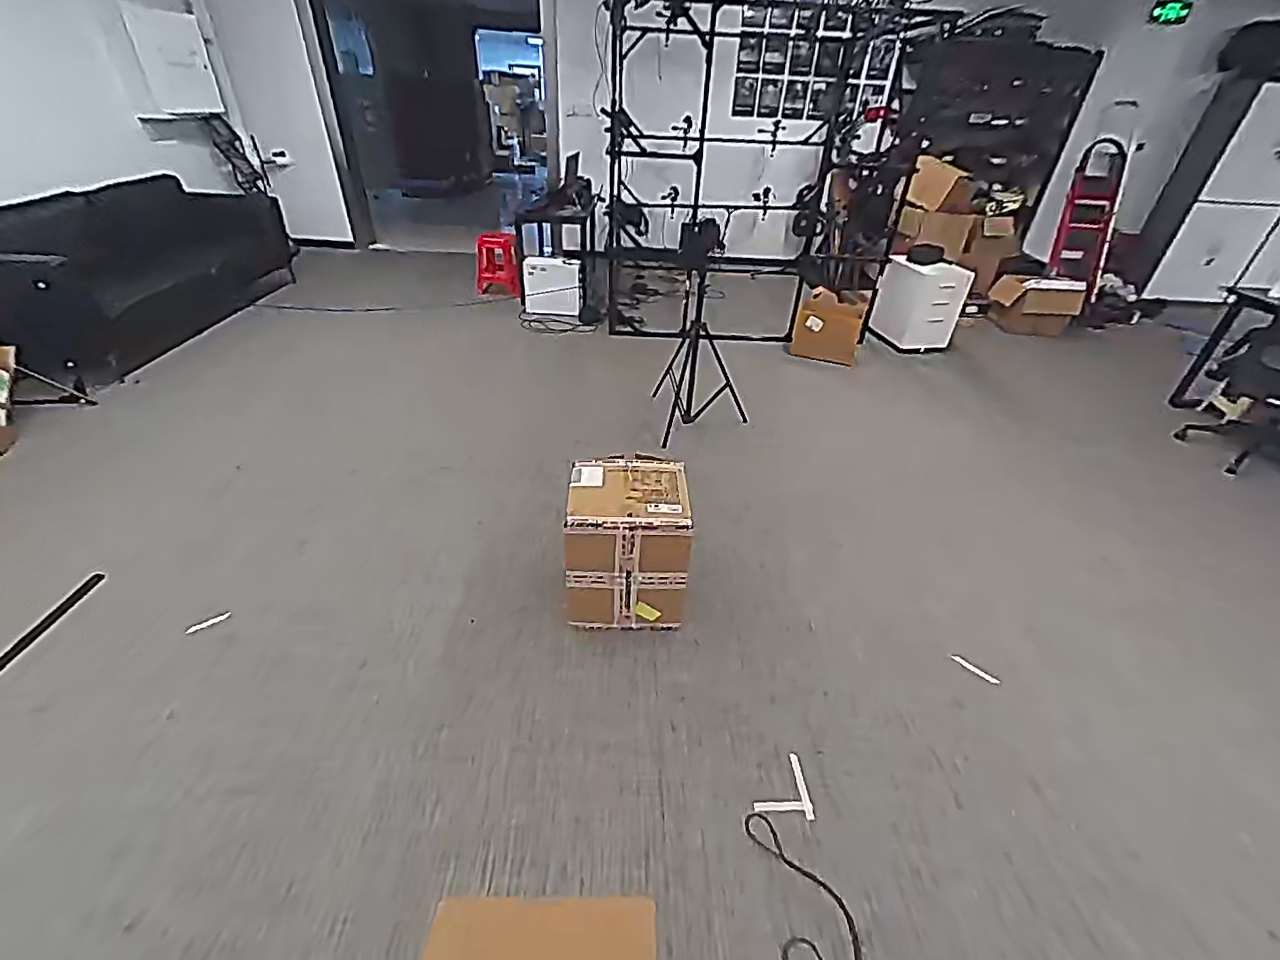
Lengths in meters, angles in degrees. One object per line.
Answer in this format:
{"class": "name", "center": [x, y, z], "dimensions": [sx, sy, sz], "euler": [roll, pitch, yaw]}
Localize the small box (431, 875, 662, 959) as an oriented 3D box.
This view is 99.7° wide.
{"class": "small box", "center": [-0.071, 0.426, 0.397], "dimensions": [0.168, 0.176, 0.179], "euler": [2, 35, -2]}
